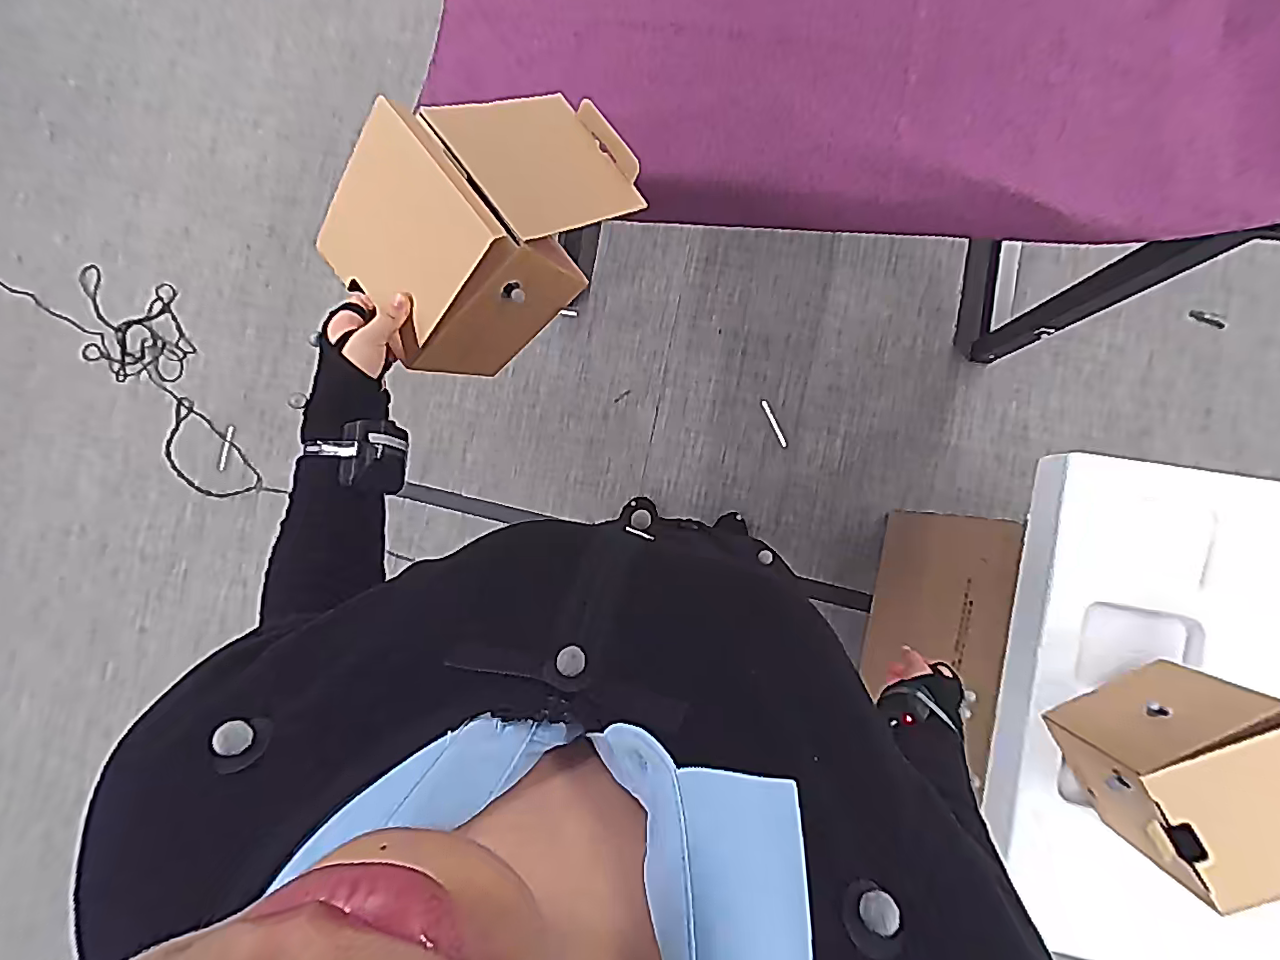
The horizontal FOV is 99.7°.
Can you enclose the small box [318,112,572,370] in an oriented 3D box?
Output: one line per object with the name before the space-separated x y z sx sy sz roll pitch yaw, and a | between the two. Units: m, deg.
small box | -0.197 -0.241 0.600 0.179 0.176 0.168 -39 85 17
